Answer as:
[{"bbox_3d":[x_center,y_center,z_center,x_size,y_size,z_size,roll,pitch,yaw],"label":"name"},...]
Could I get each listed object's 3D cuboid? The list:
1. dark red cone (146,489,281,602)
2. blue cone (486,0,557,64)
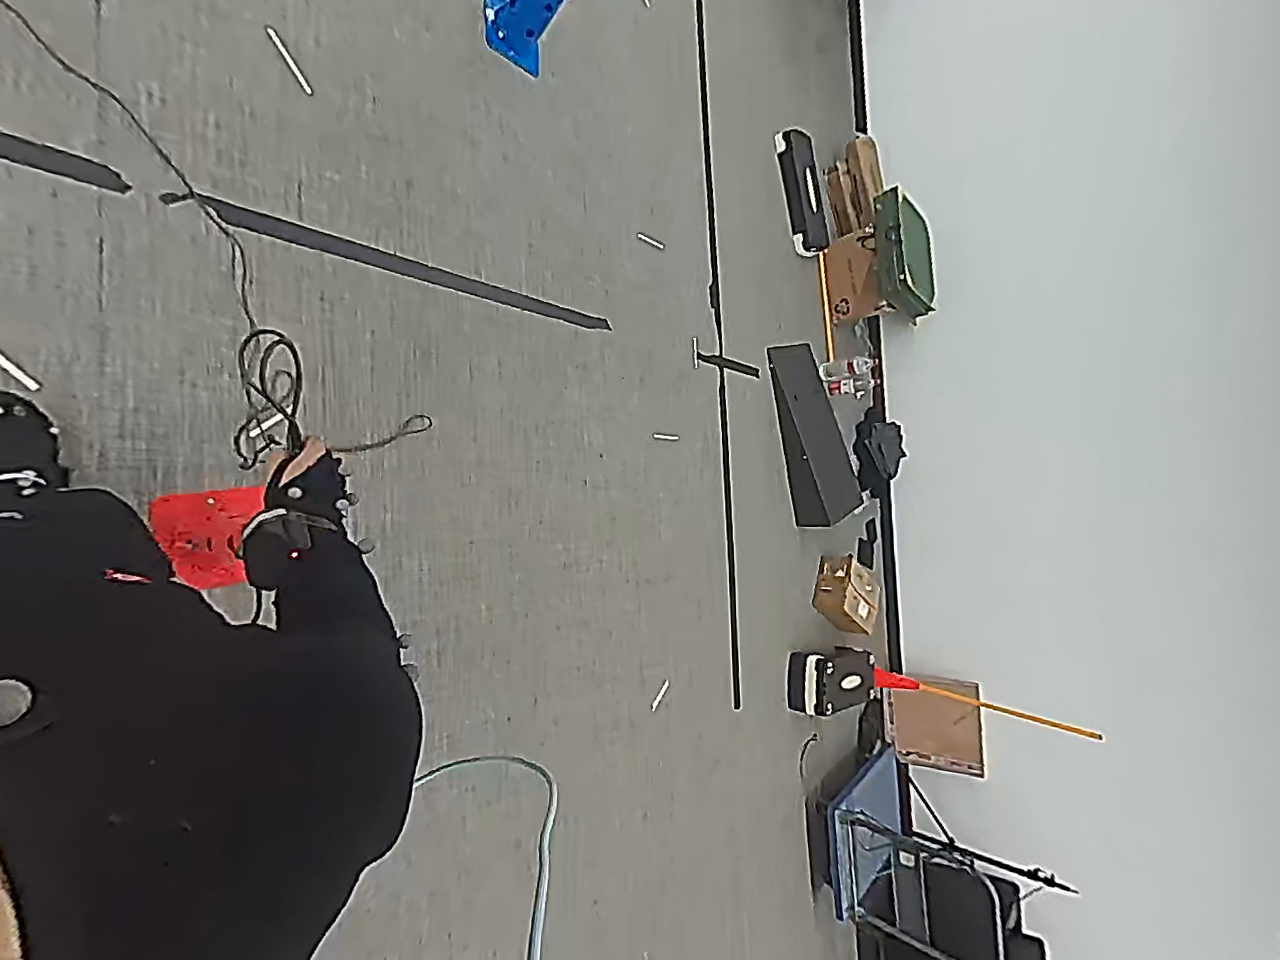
[{"bbox_3d":[-0.728,0.114,0.973,0.202,0.394,0.201,-10,93,-47],"label":"dark red cone"},{"bbox_3d":[-0.287,-1.464,1.616,0.193,0.380,0.192,2,85,-47],"label":"blue cone"}]
